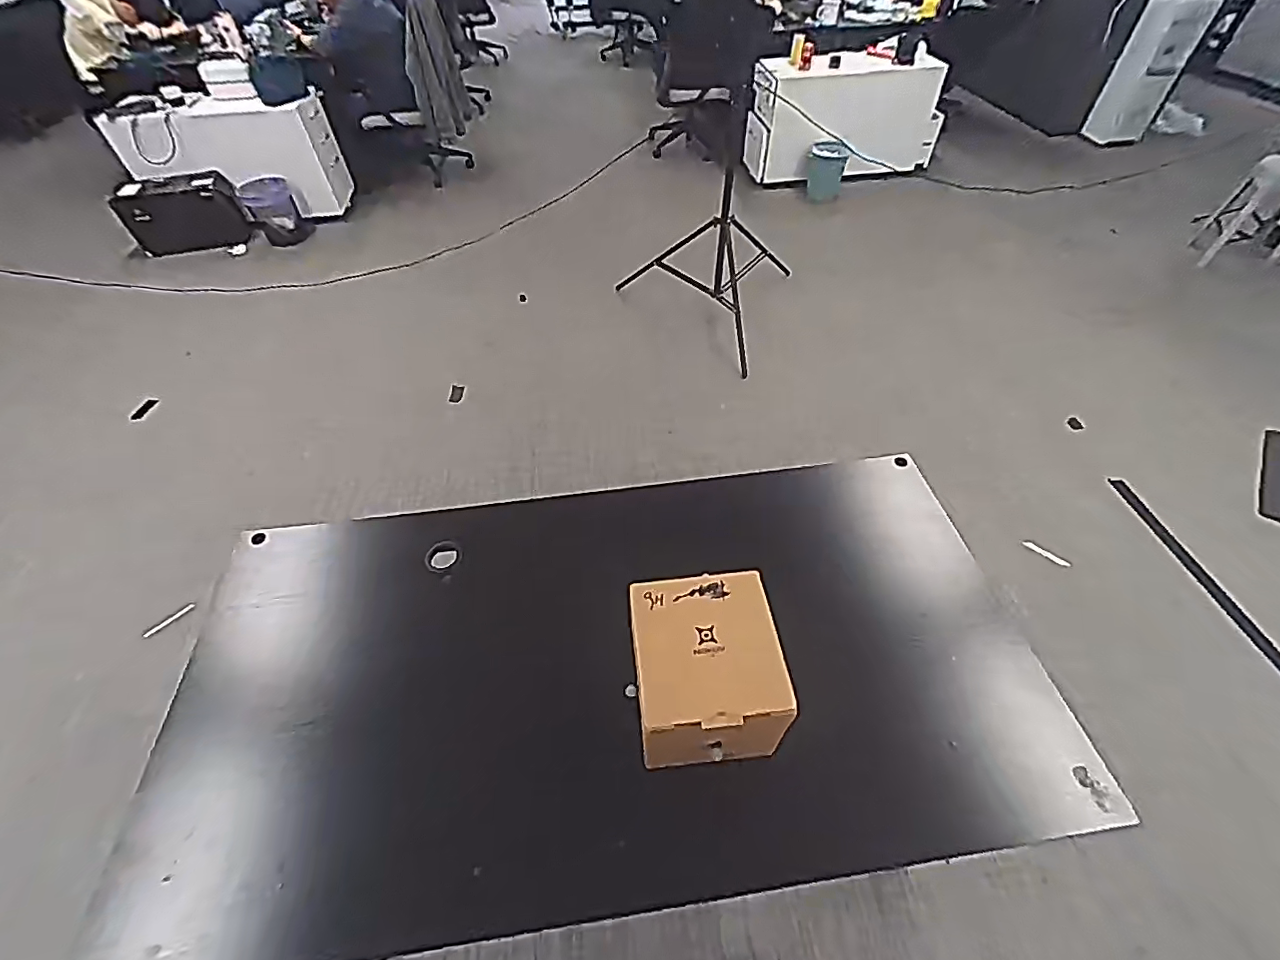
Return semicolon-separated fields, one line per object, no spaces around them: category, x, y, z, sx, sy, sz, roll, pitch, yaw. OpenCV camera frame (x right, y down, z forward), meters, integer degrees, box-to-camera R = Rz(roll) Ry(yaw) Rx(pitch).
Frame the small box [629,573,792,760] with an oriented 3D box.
small box;0.078;0.242;0.685;0.168;0.176;0.179;-6;50;-2
